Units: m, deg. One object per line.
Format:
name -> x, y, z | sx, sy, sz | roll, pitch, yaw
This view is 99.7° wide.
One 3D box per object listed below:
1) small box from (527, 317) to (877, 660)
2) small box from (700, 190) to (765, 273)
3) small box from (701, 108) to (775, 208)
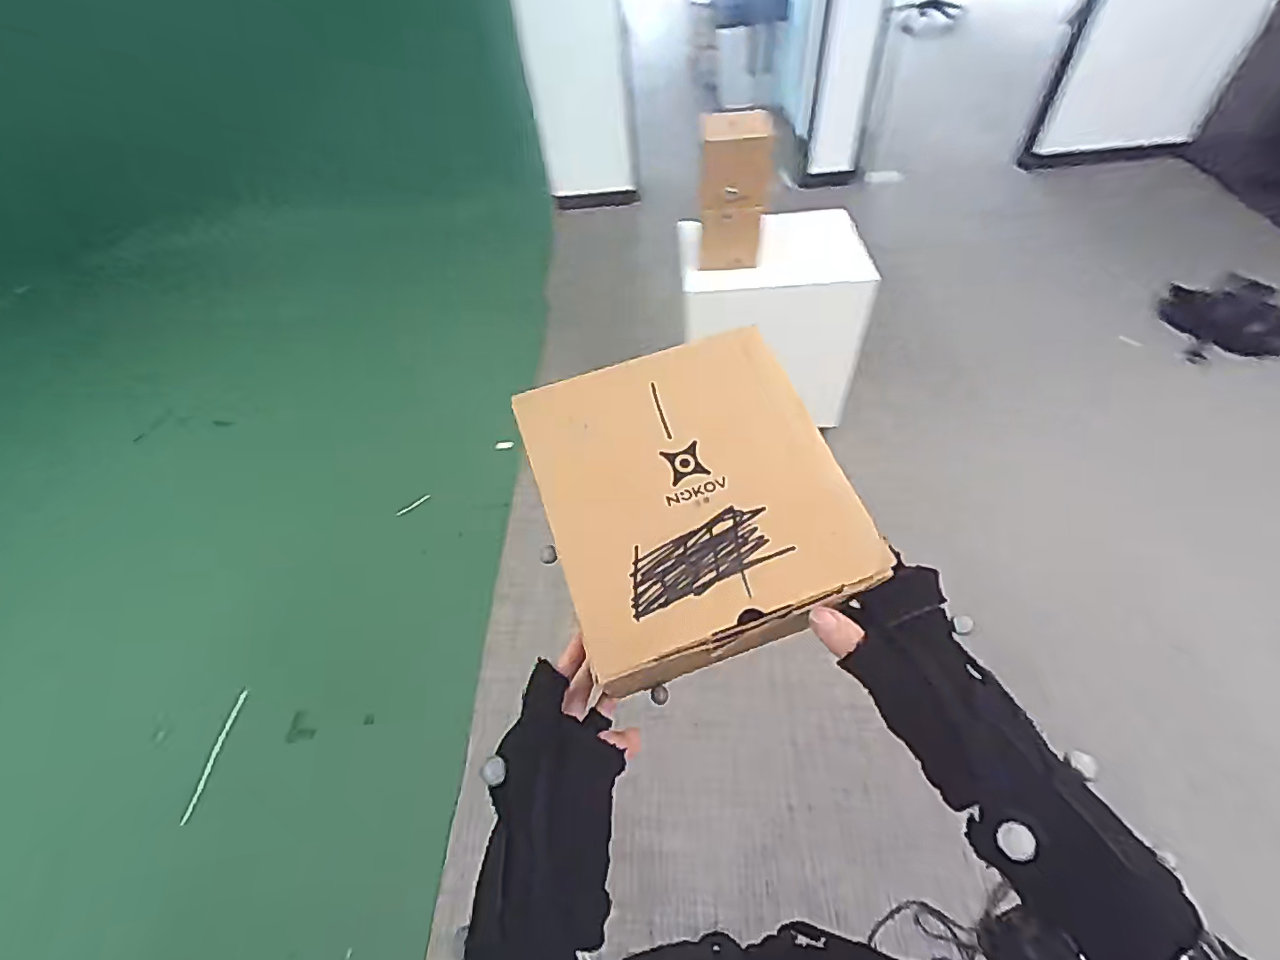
small box -> 0.032, 0.020, 0.392 | 0.168, 0.176, 0.179 | -17, 65, -6
small box -> 0.252, -0.700, 1.513 | 0.168, 0.176, 0.179 | -1, 50, 5
small box -> 0.243, -0.818, 1.379 | 0.168, 0.176, 0.179 | -3, 52, 4
